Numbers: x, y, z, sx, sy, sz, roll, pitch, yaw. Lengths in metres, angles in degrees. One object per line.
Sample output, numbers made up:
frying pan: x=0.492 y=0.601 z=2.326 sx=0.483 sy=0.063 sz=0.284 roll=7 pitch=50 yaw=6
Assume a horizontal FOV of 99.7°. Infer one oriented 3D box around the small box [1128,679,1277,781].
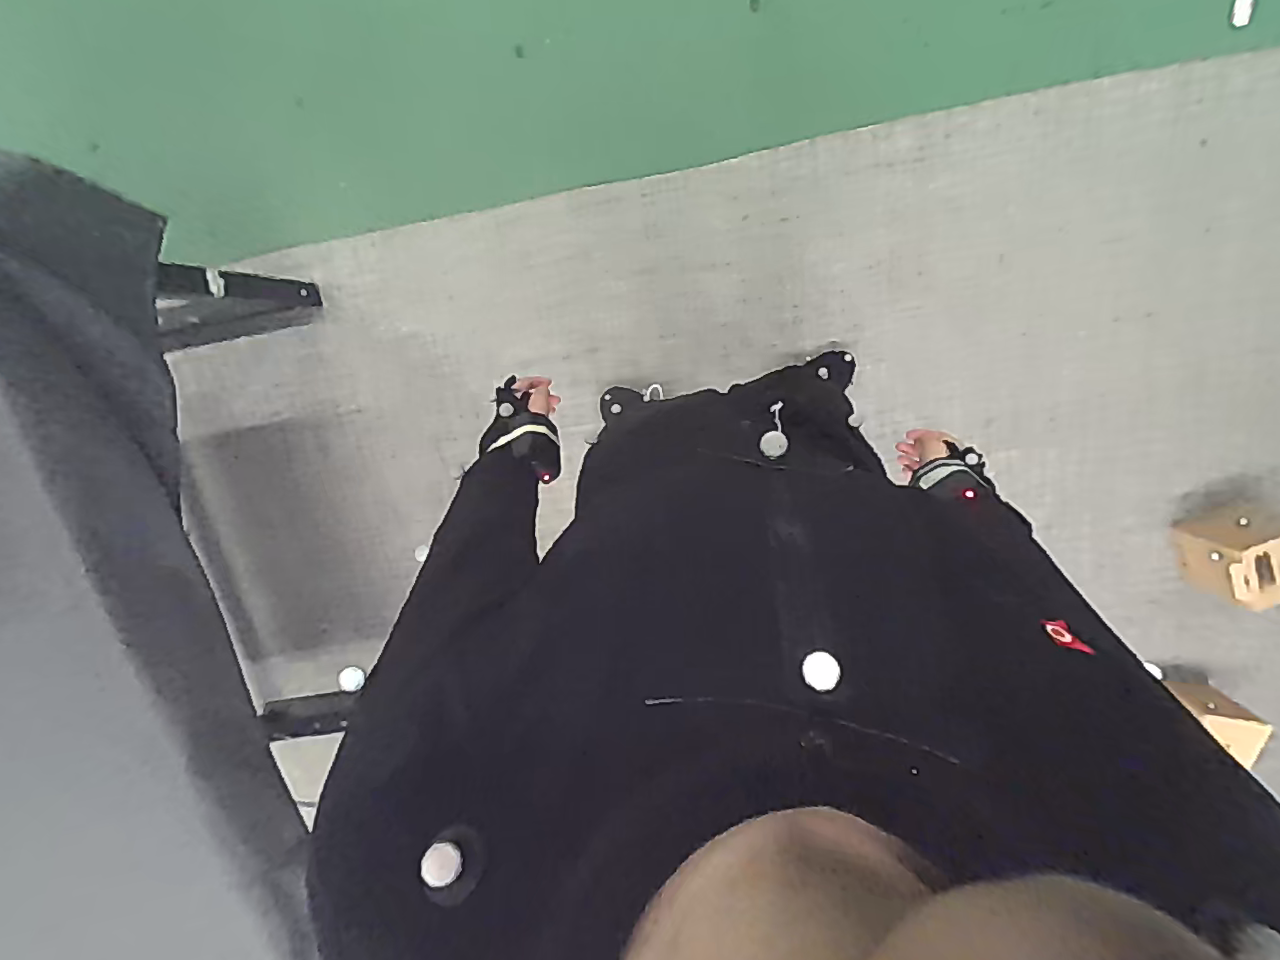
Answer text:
small box: x=1.450 y=0.643 z=1.407 sx=0.179 sy=0.176 sz=0.168 roll=9 pitch=105 yaw=0
